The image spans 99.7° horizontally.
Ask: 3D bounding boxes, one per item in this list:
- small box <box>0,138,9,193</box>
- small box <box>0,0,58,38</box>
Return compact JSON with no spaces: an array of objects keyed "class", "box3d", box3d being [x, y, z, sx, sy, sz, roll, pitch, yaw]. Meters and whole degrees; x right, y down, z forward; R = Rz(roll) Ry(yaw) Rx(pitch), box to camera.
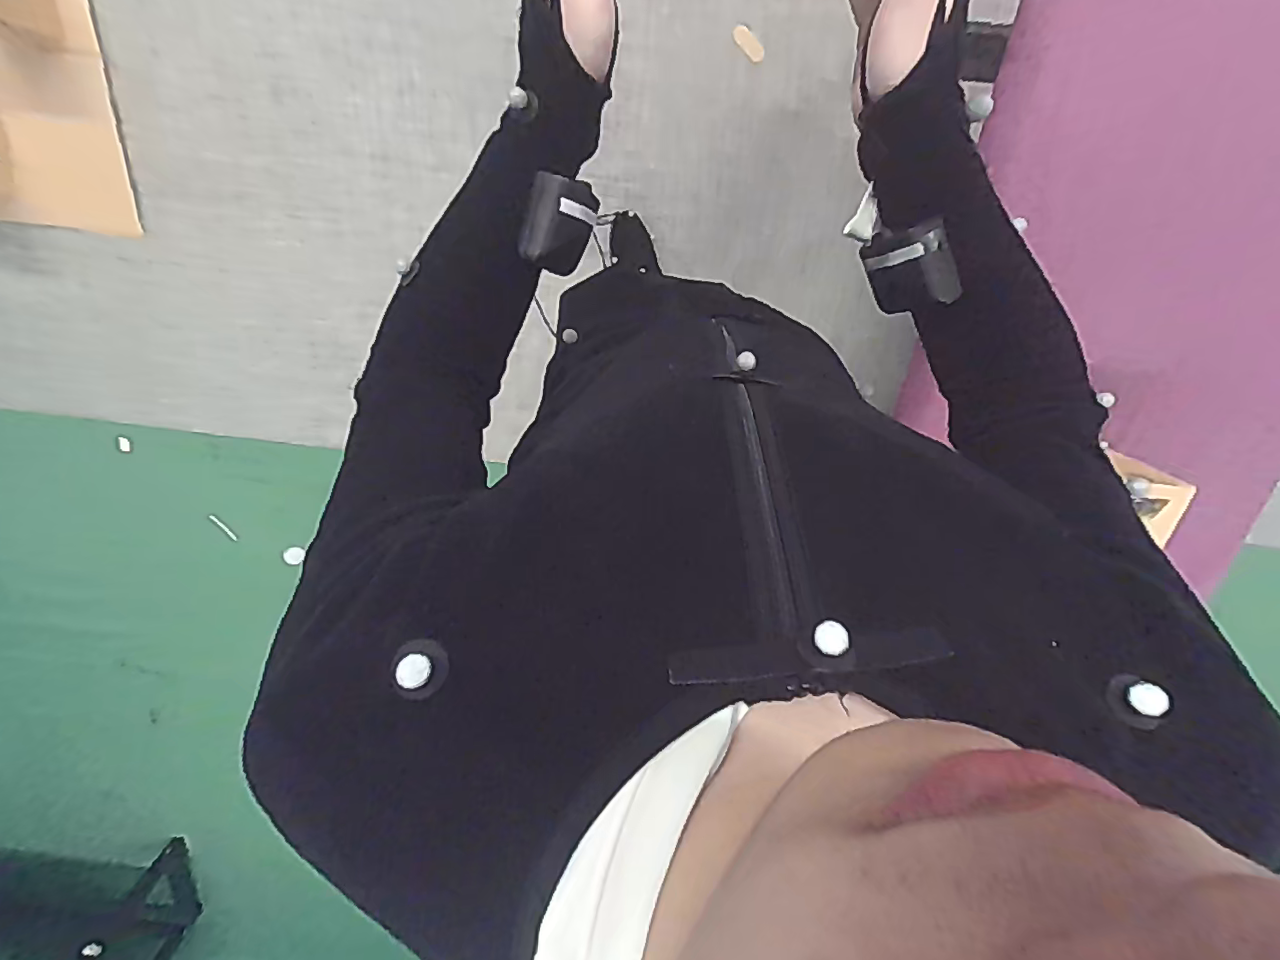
[{"class":"small box","box3d":[-1.694,-0.809,1.292,0.168,0.176,0.179,14,112,-5]},{"class":"small box","box3d":[-1.436,-1.096,1.168,0.168,0.176,0.179,7,113,-2]}]
